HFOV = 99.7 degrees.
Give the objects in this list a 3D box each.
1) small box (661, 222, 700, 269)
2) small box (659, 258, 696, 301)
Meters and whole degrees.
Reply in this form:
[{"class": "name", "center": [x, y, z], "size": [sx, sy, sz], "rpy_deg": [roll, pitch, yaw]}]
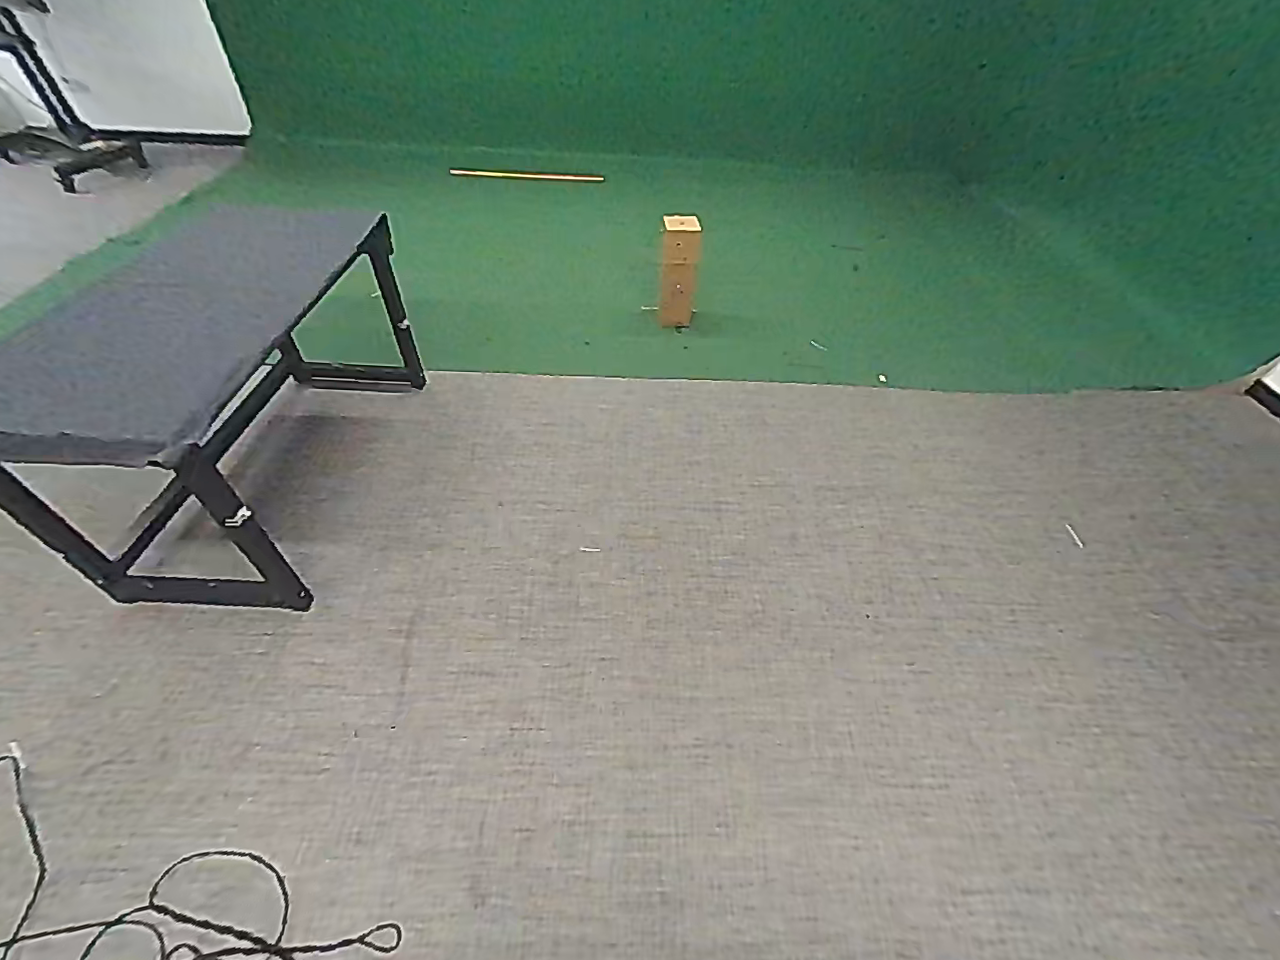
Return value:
[{"class": "small box", "center": [0.196, -1.149, 2.656], "size": [0.168, 0.176, 0.179], "rpy_deg": [-2, 45, -5]}, {"class": "small box", "center": [0.188, -1.038, 2.774], "size": [0.168, 0.176, 0.179], "rpy_deg": [0, 45, -3]}]
